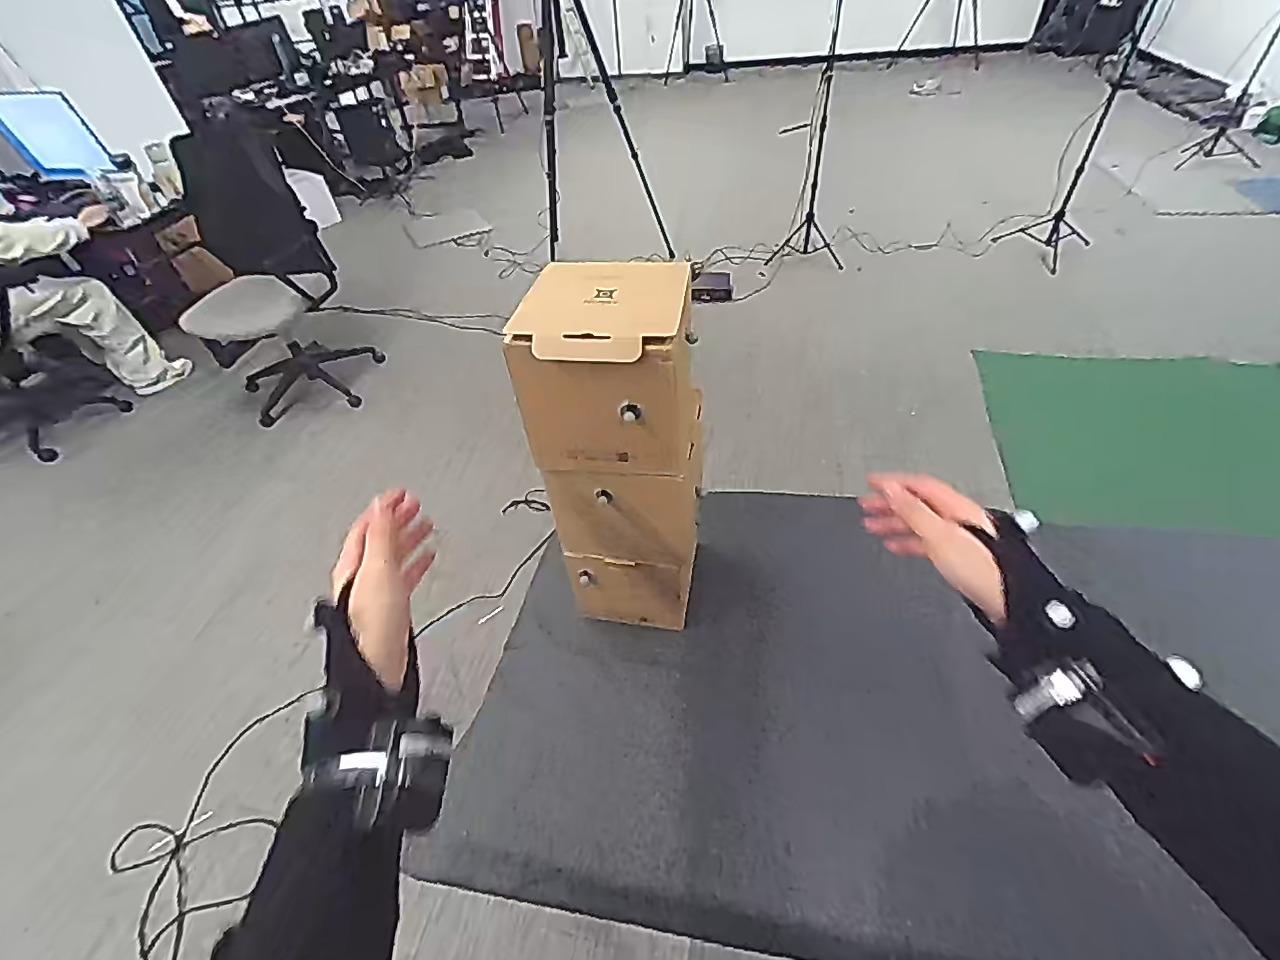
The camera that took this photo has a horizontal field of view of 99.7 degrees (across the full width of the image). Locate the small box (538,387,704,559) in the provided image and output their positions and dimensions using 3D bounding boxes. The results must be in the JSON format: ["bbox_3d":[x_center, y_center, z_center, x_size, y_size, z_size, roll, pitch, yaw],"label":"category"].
[{"bbox_3d":[-0.012,-0.012,0.719,0.179,0.176,0.168,6,48,12],"label":"small box"}]

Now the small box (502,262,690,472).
[{"bbox_3d":[-0.032,-0.125,0.605,0.168,0.176,0.179,3,45,8],"label":"small box"}]
